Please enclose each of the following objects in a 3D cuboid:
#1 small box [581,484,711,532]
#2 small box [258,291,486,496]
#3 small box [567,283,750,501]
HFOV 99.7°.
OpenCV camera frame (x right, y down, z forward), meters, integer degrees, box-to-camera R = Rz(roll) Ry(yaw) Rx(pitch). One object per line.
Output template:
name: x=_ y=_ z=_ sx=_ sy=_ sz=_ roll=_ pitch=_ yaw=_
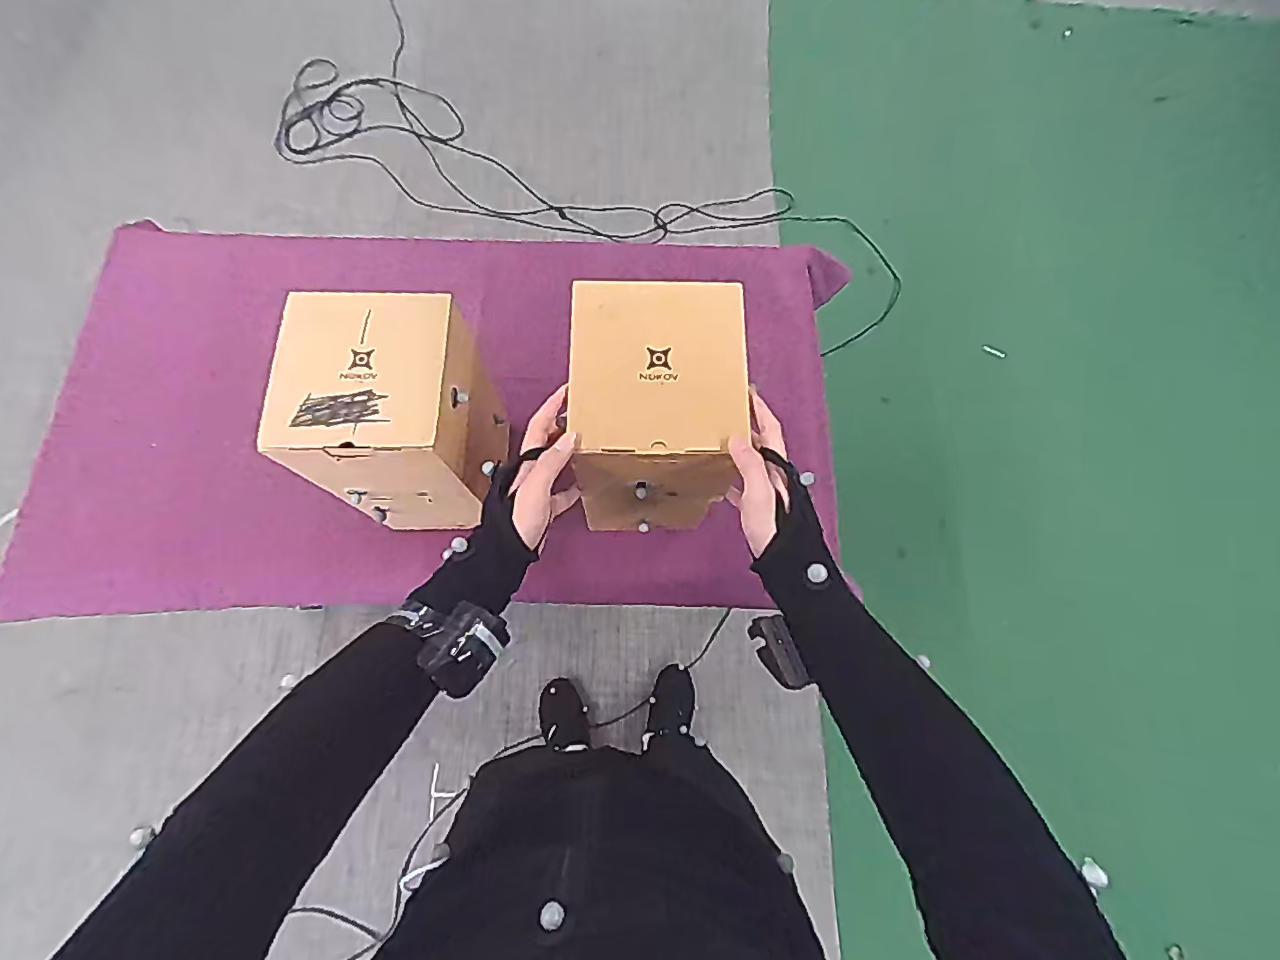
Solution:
small box: x=0.004 y=-0.031 z=0.774 sx=0.168 sy=0.176 sz=0.179 roll=0 pitch=72 yaw=-2
small box: x=-0.277 y=-0.085 z=0.605 sx=0.168 sy=0.176 sz=0.179 roll=1 pitch=71 yaw=-3
small box: x=0.015 y=-0.083 z=0.577 sx=0.168 sy=0.176 sz=0.179 roll=1 pitch=75 yaw=-2
